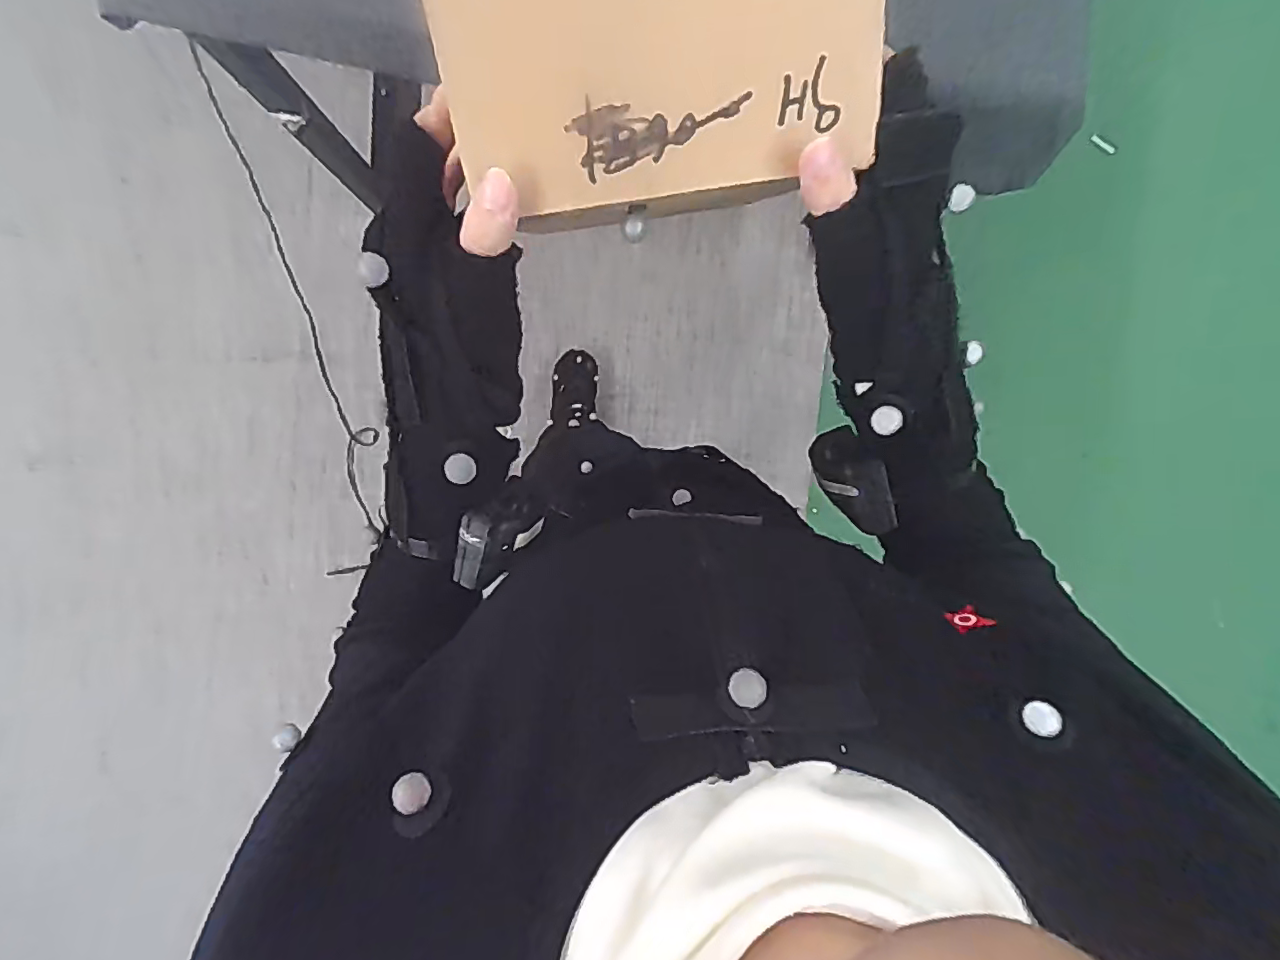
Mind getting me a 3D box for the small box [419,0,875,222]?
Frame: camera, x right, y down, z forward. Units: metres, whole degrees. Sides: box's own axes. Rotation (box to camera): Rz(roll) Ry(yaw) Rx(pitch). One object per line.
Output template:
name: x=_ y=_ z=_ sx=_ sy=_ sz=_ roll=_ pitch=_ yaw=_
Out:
small box: x=-0.006 y=-0.232 z=0.255 sx=0.168 sy=0.176 sz=0.179 roll=-8 pitch=113 yaw=0
